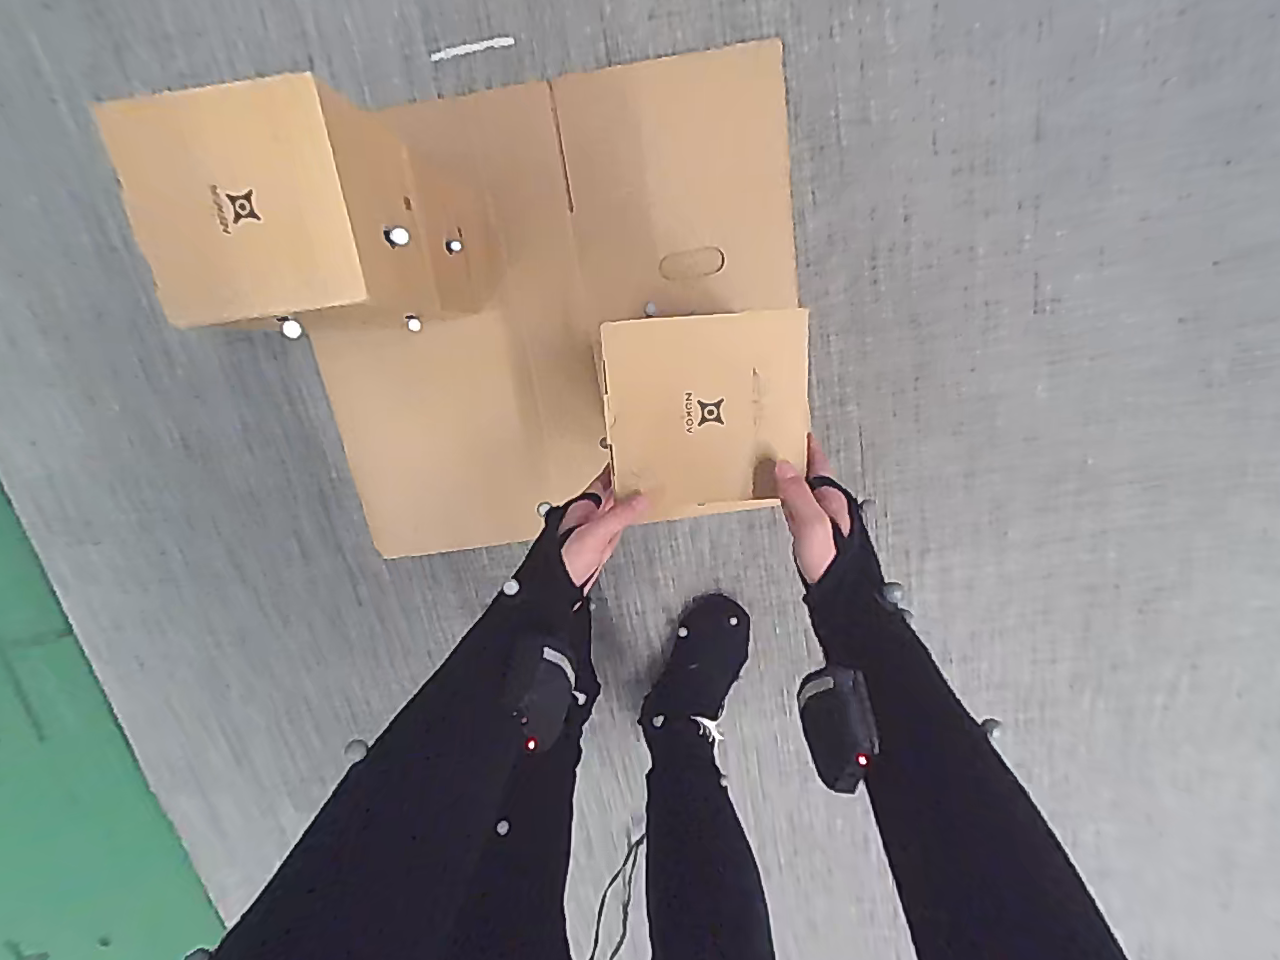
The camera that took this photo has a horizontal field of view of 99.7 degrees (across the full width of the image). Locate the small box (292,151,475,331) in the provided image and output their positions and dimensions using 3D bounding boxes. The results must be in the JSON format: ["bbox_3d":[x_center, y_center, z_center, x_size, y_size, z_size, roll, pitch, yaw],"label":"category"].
[{"bbox_3d":[-0.315,-0.278,0.660,0.179,0.176,0.168,-7,105,3],"label":"small box"}]

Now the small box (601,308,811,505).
[{"bbox_3d":[0.061,-0.079,0.543,0.179,0.176,0.168,-3,106,2],"label":"small box"}]

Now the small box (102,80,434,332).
[{"bbox_3d":[-0.312,-0.235,0.504,0.179,0.176,0.168,-7,106,3],"label":"small box"}]
